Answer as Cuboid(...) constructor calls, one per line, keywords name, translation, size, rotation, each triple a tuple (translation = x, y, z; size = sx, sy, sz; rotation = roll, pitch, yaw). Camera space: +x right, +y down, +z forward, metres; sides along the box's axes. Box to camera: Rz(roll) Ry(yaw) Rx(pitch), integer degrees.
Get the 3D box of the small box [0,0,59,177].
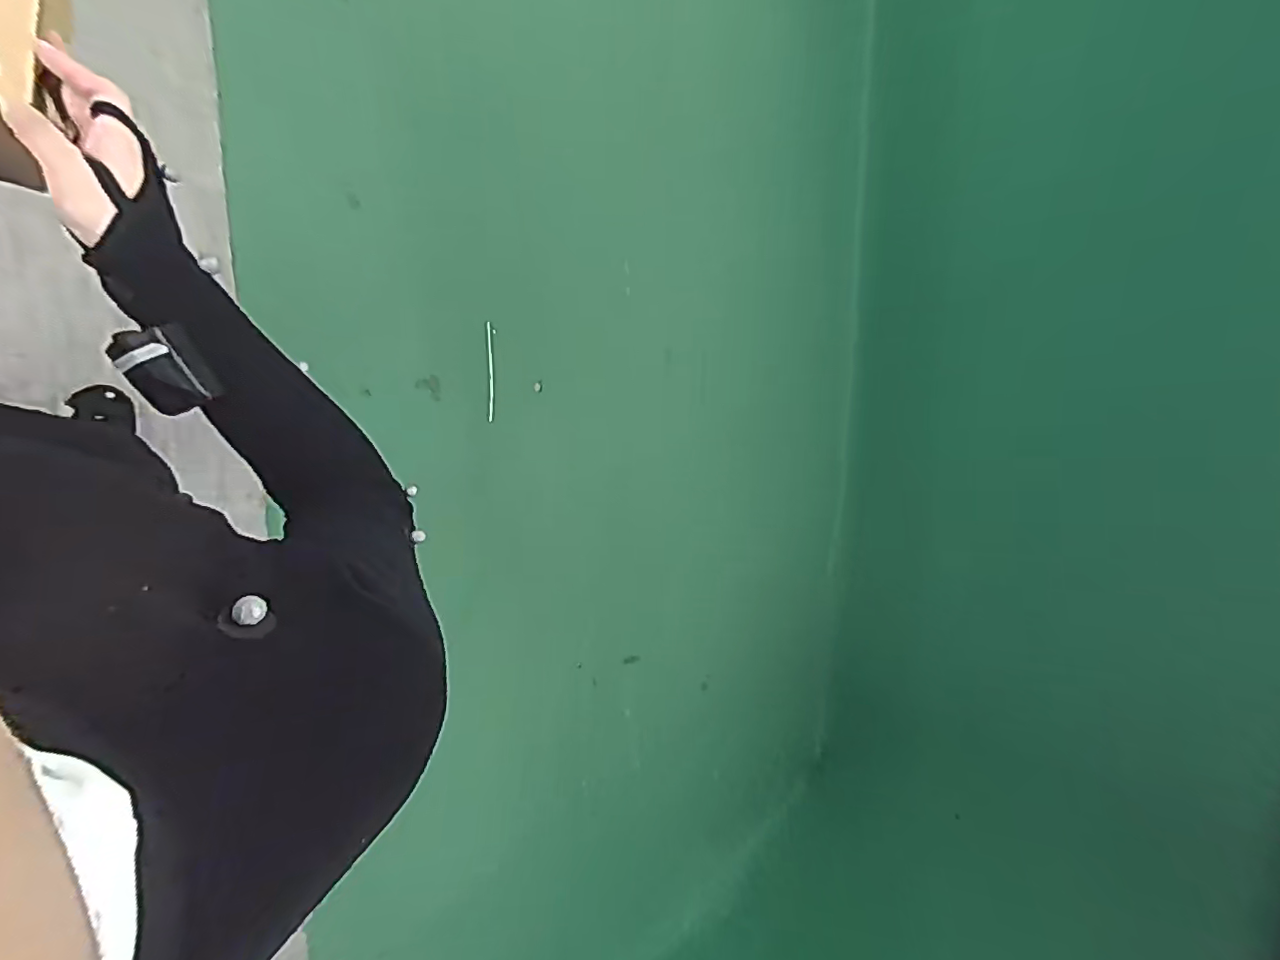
Cuboid(name="small box", translation=(-0.532, -0.353, 0.372), size=(0.168, 0.176, 0.179), rotation=(5, 89, -43))
